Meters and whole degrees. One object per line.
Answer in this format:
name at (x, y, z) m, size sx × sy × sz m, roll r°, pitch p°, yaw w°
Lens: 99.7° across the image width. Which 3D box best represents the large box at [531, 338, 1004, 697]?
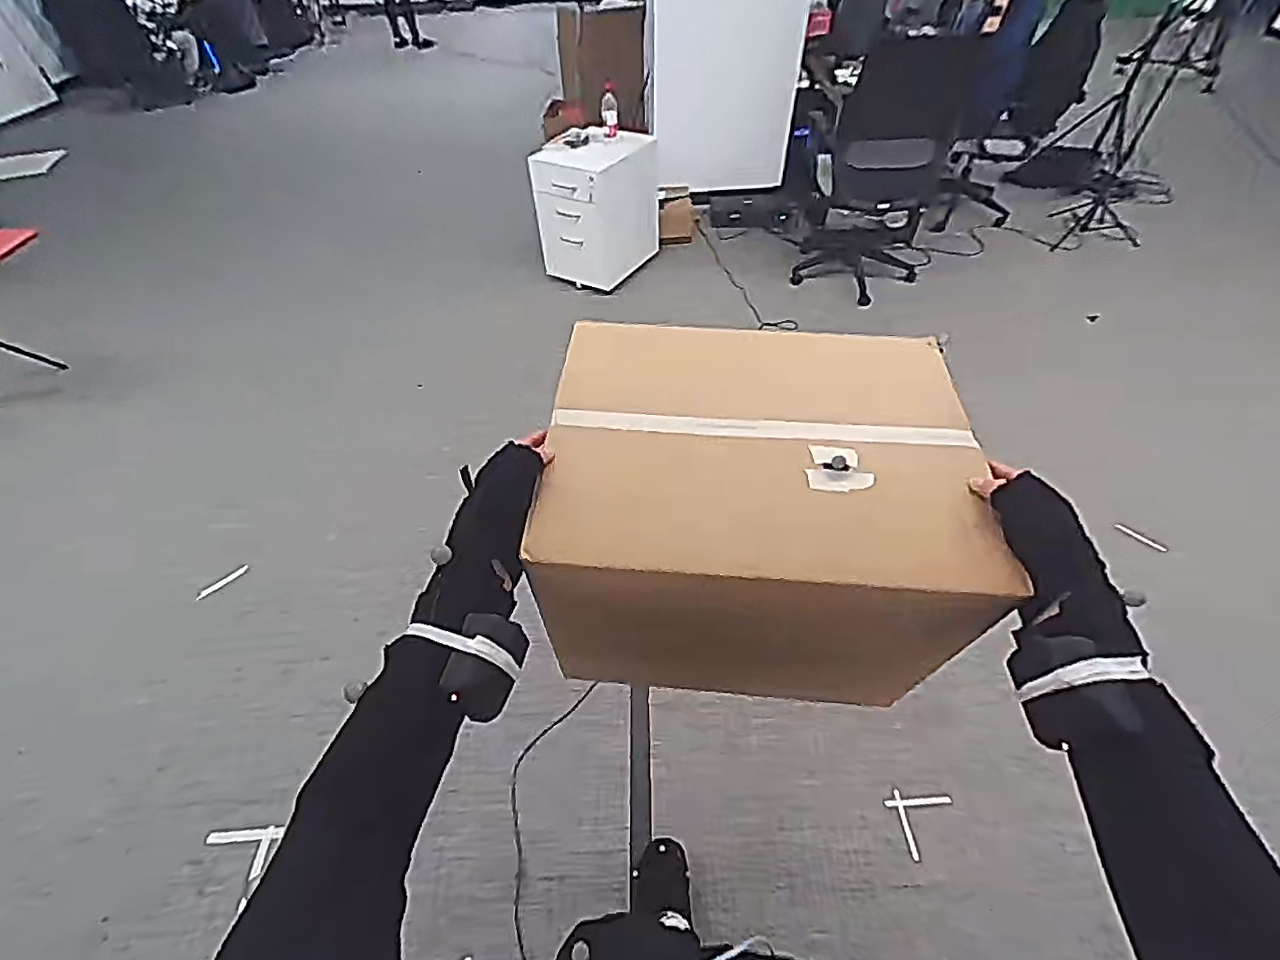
large box at (0.112, 0.052, 0.656) m, size 0.408 × 0.320 × 0.320 m, roll 4°, pitch 53°, yaw 3°
